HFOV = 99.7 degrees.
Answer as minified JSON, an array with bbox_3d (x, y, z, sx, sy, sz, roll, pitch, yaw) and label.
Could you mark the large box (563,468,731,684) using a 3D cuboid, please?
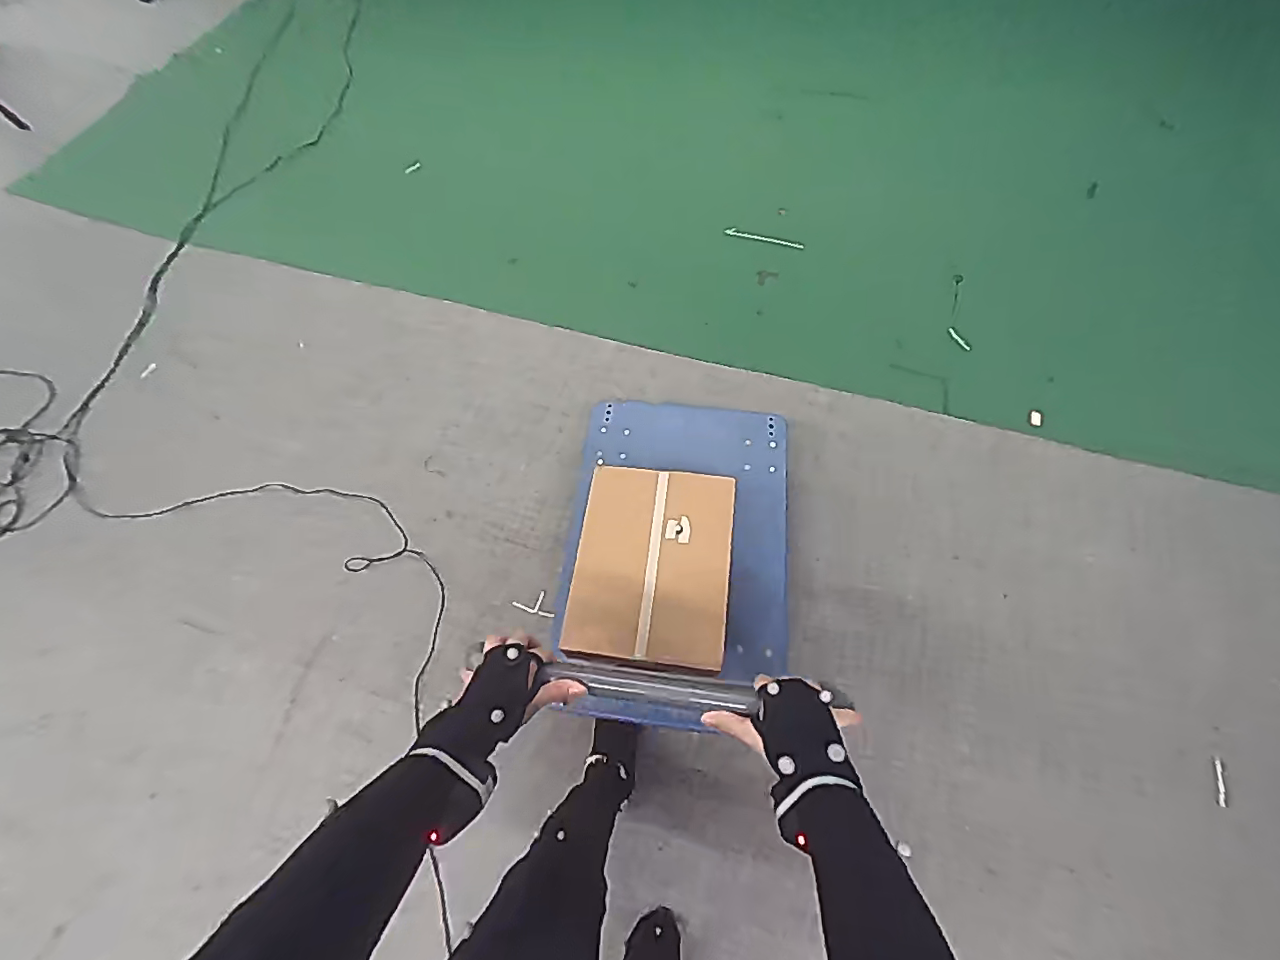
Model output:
[{"bbox_3d":[0.033,0.229,1.242,0.320,0.320,0.408,6,63,5],"label":"large box"}]
